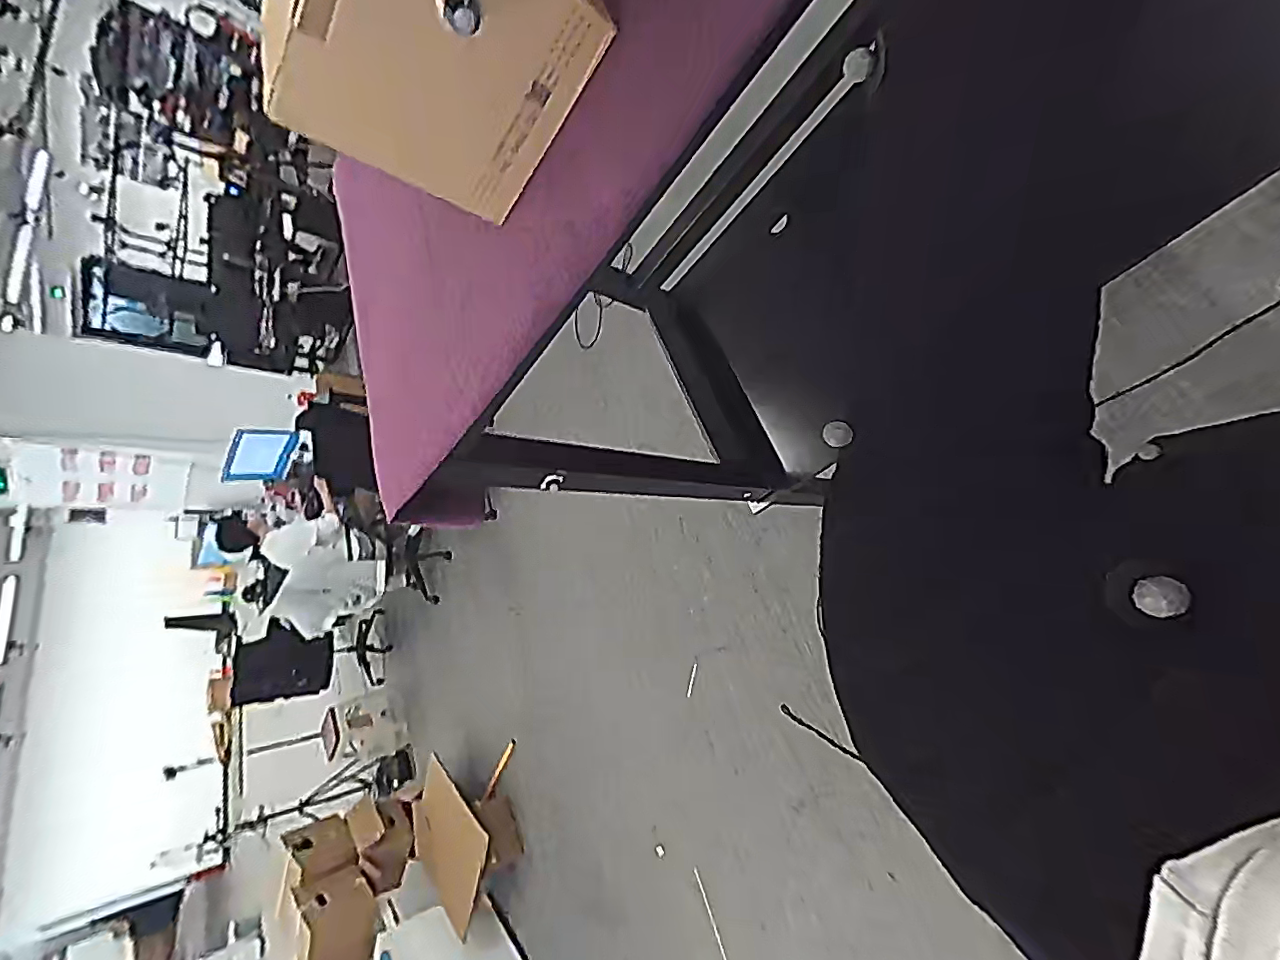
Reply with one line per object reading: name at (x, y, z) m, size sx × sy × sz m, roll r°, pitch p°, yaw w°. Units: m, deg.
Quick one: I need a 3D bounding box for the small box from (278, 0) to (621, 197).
small box at (-0.137, -0.337, 0.383) m, size 0.168 × 0.176 × 0.179 m, roll -39°, pitch 59°, yaw 36°
